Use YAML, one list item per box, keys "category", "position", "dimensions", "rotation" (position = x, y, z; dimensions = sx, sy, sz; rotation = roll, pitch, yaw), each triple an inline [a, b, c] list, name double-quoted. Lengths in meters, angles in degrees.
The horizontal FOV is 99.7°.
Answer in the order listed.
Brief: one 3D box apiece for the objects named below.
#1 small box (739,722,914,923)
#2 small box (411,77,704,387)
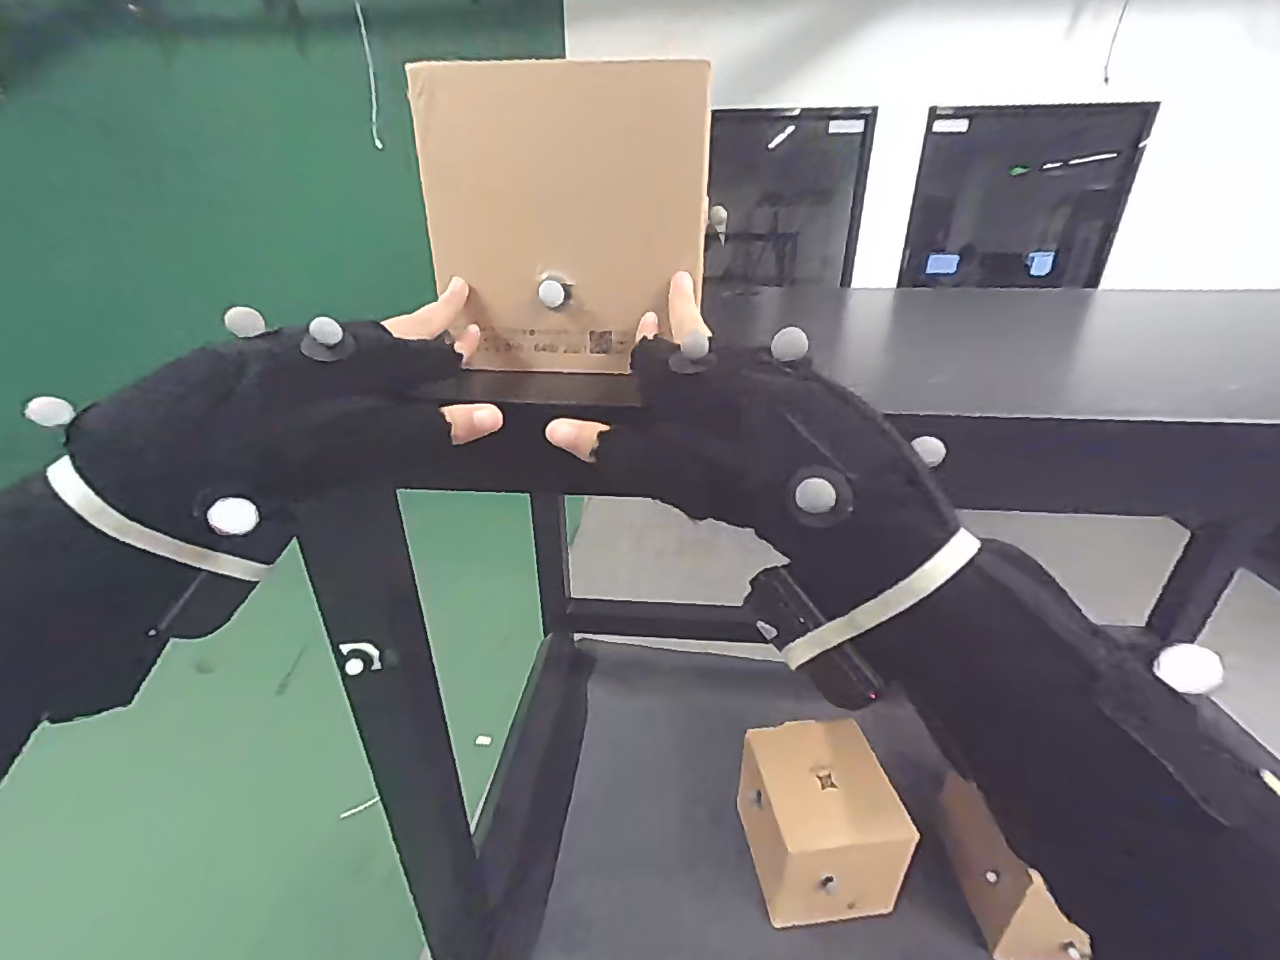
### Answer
- category: "small box"
  position: [0.241, 0.470, 0.745]
  dimensions: [0.168, 0.176, 0.179]
  rotation: [-3, 25, -6]
- category: "small box"
  position: [-0.040, -0.175, 0.399]
  dimensions: [0.168, 0.176, 0.179]
  rotation: [2, 26, 5]
